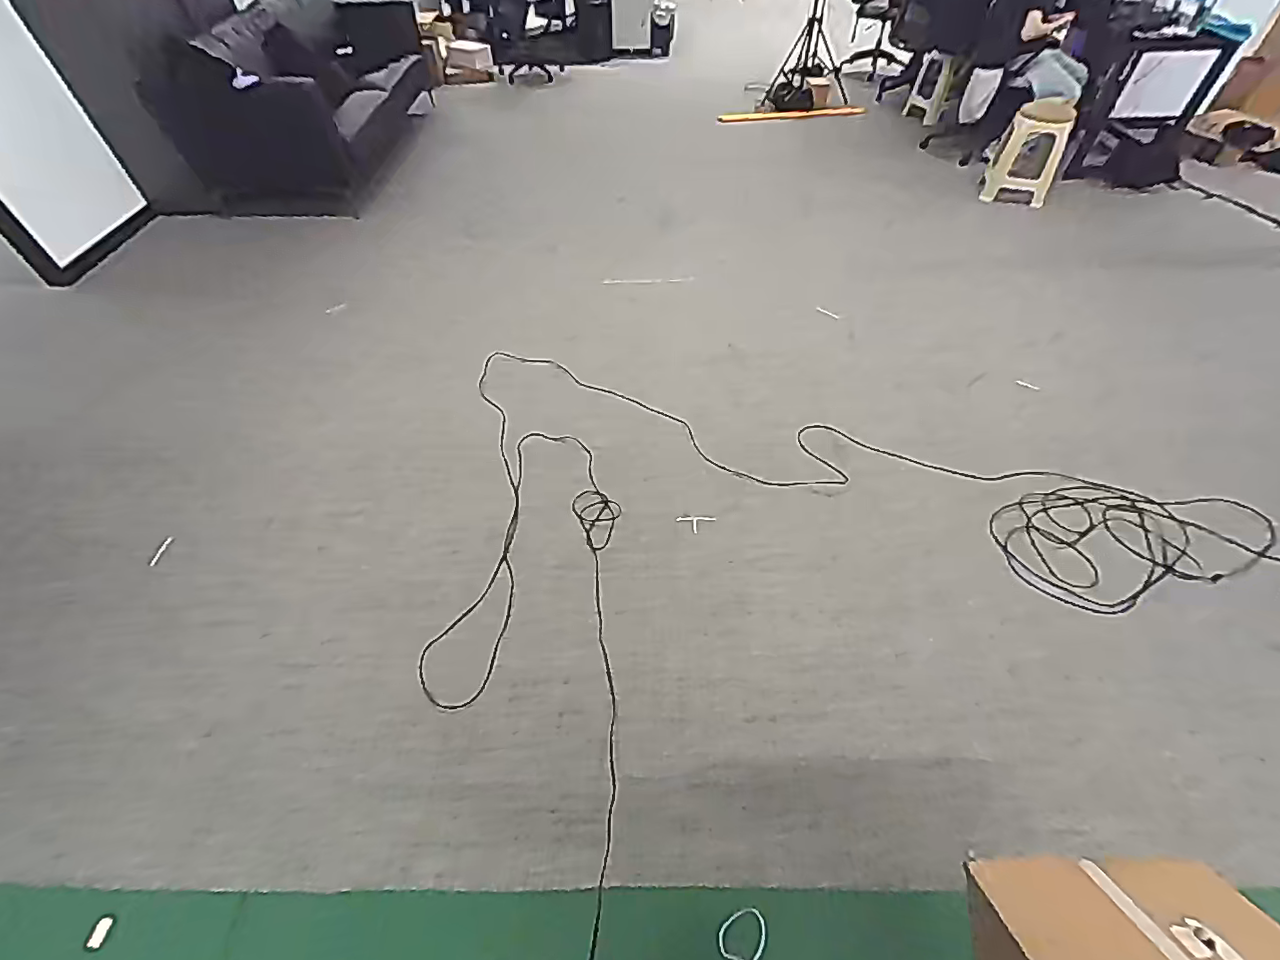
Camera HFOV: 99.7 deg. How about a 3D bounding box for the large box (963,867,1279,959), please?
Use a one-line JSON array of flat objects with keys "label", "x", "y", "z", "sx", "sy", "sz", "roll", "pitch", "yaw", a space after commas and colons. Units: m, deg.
[{"label": "large box", "x": 0.614, "y": 0.711, "z": 0.576, "sx": 0.320, "sy": 0.408, "sz": 0.320, "roll": -3, "pitch": 90, "yaw": 6}]
